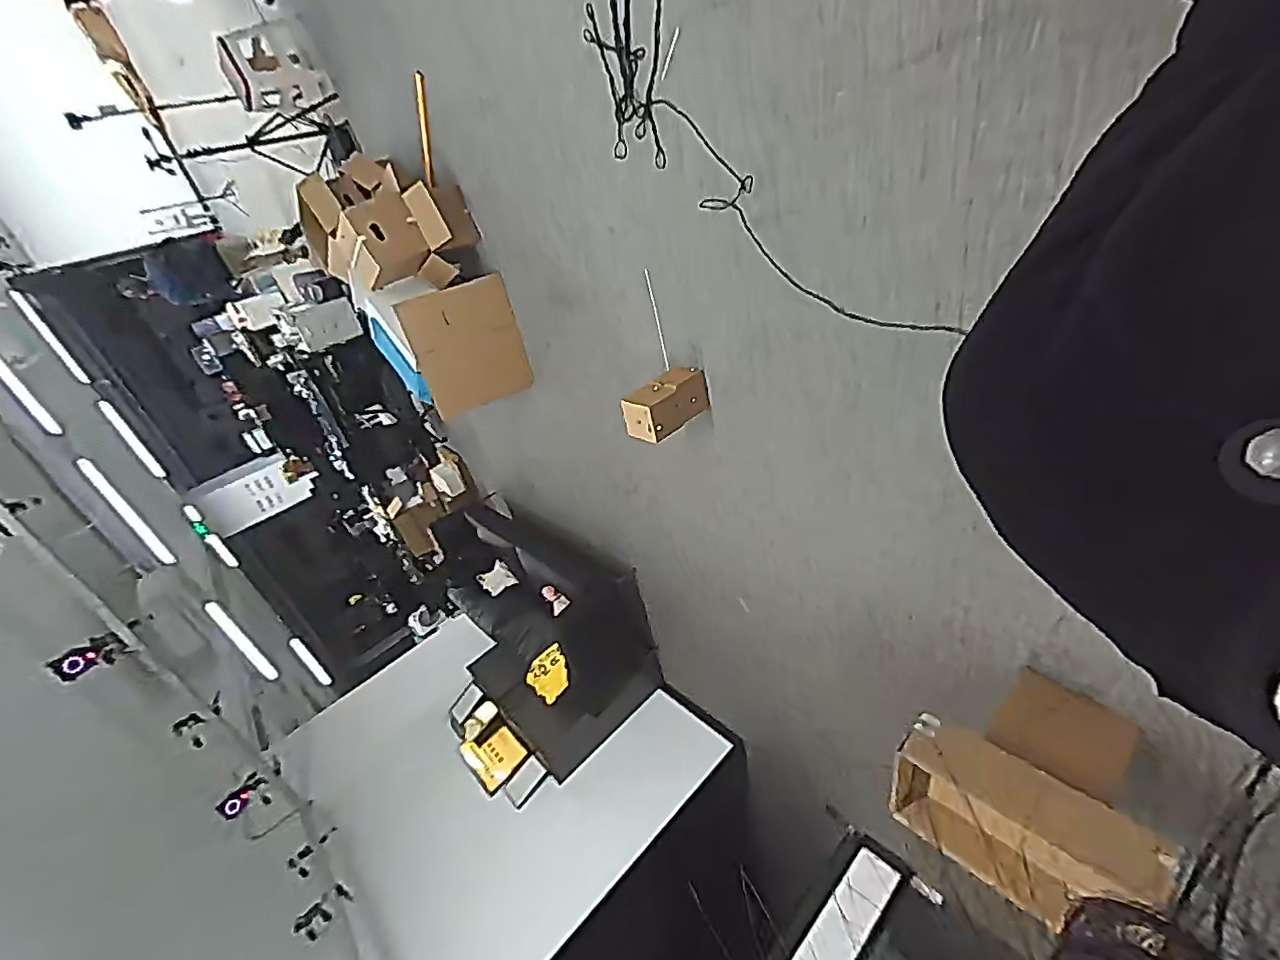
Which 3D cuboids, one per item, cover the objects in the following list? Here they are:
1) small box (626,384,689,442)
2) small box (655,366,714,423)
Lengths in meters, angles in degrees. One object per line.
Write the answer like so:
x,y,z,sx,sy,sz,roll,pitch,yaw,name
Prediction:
0.075,-0.279,2.207,0.179,0.176,0.168,23,139,45,small box
0.191,-0.367,2.283,0.168,0.176,0.179,22,138,46,small box
